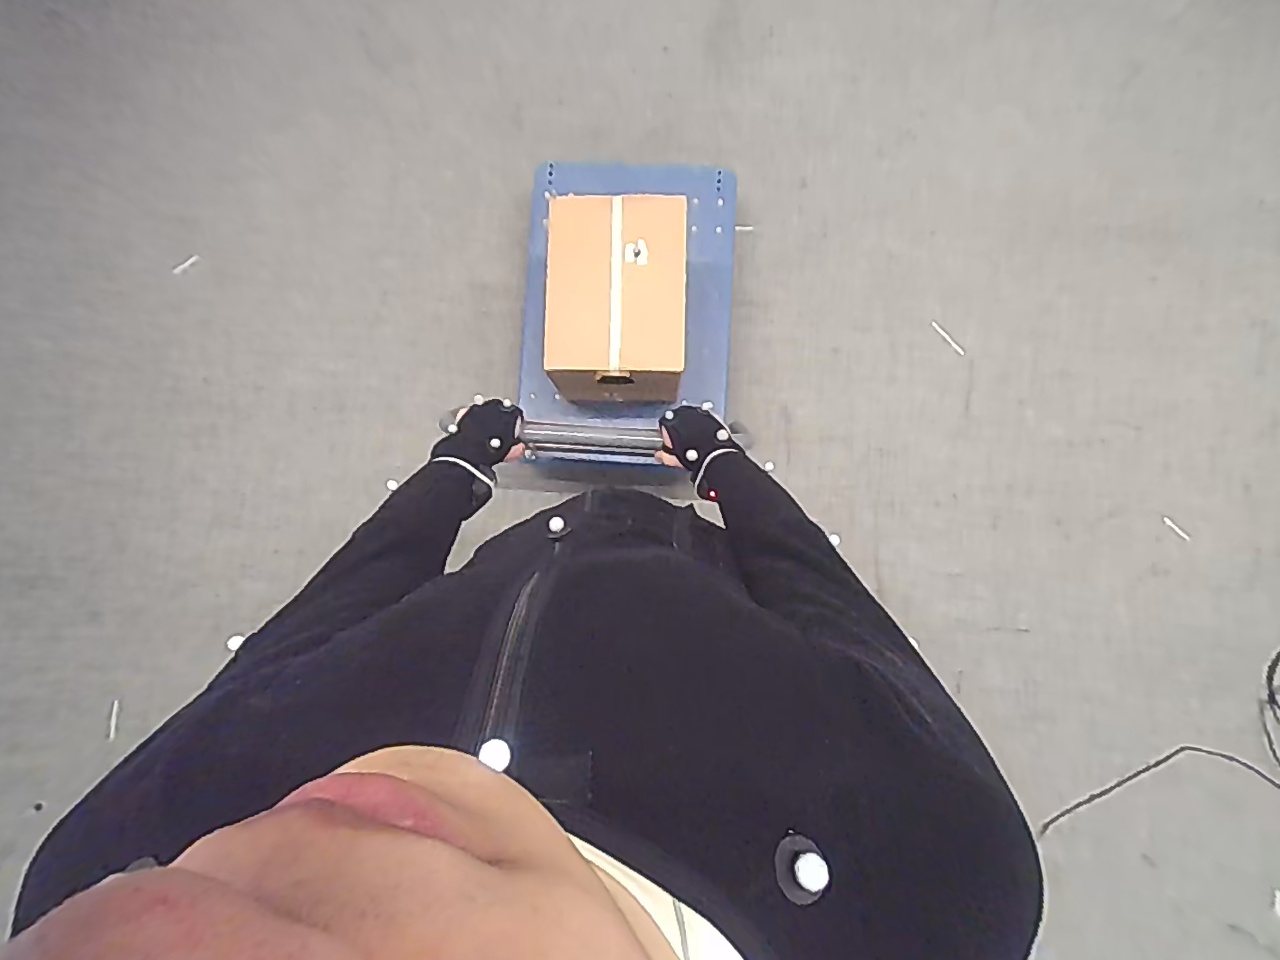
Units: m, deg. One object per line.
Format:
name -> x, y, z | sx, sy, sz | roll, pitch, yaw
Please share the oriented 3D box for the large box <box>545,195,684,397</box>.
large box -> -0.052, -0.437, 1.362 | 0.320, 0.320, 0.408 | 1, 86, 1
